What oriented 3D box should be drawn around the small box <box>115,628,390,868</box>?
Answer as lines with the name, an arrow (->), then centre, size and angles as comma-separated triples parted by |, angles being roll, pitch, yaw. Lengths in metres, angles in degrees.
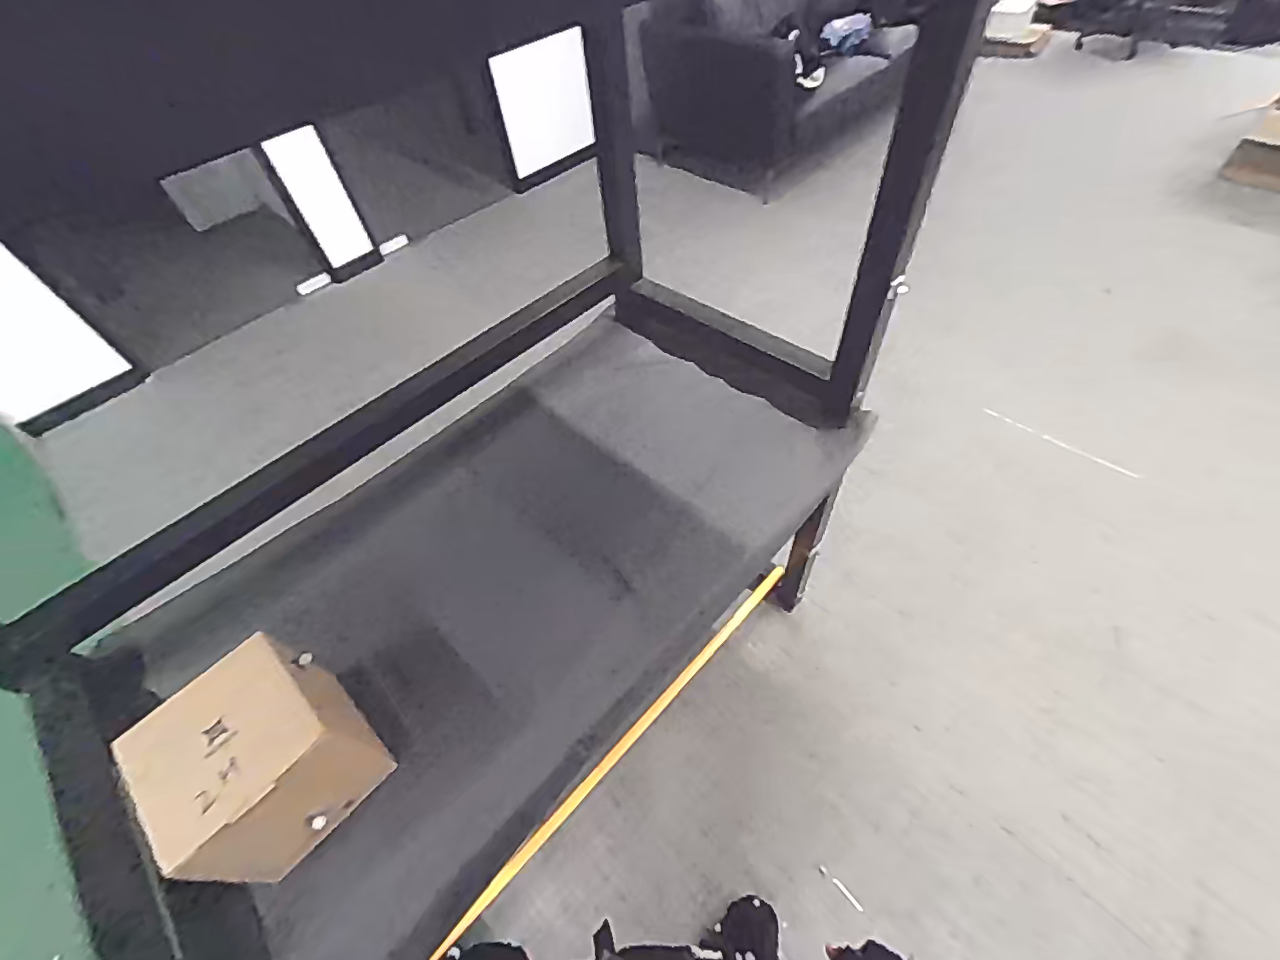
small box -> -0.433, 0.313, 0.627 | 0.179, 0.176, 0.168 | 34, 63, 28
